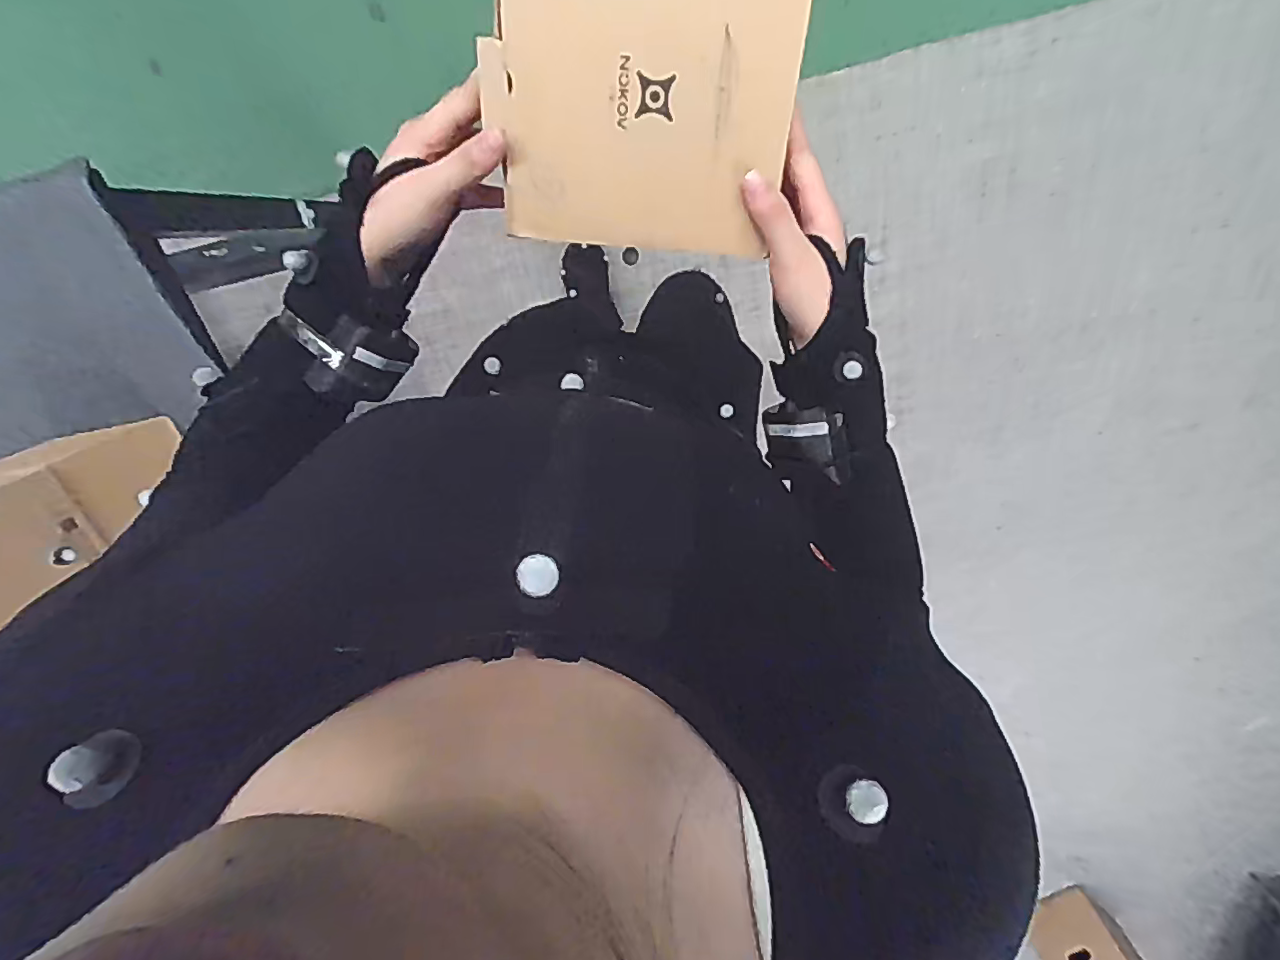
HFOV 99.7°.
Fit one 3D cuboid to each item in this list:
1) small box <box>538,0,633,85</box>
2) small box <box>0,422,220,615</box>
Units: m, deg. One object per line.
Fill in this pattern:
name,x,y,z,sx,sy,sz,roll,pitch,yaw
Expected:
small box,-0.100,-0.885,1.039,0.168,0.176,0.179,4,115,-3
small box,-0.680,0.040,0.675,0.179,0.176,0.168,-10,116,6
